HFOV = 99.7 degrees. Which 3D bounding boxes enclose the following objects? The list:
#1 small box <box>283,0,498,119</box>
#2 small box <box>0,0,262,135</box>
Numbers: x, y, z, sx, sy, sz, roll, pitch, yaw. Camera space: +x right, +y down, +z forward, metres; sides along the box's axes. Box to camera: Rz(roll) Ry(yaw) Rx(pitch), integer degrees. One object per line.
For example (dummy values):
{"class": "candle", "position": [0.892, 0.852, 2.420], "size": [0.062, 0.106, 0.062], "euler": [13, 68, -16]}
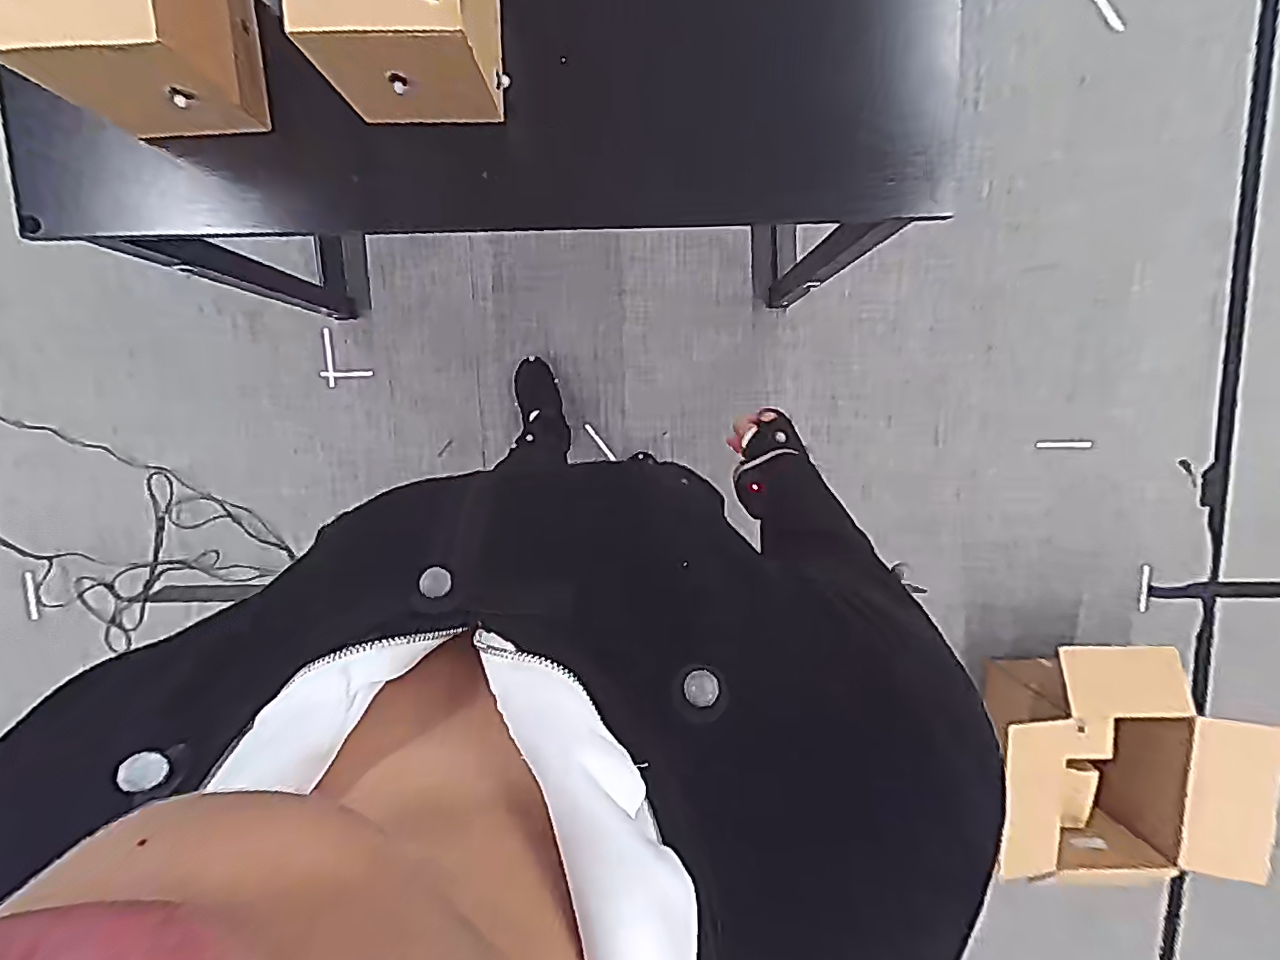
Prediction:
{"class": "small box", "position": [-0.260, -0.528, 0.596], "size": [0.179, 0.176, 0.168], "euler": [-1, 97, 0]}
{"class": "small box", "position": [-0.554, -0.511, 0.595], "size": [0.179, 0.176, 0.168], "euler": [-4, 97, 1]}
